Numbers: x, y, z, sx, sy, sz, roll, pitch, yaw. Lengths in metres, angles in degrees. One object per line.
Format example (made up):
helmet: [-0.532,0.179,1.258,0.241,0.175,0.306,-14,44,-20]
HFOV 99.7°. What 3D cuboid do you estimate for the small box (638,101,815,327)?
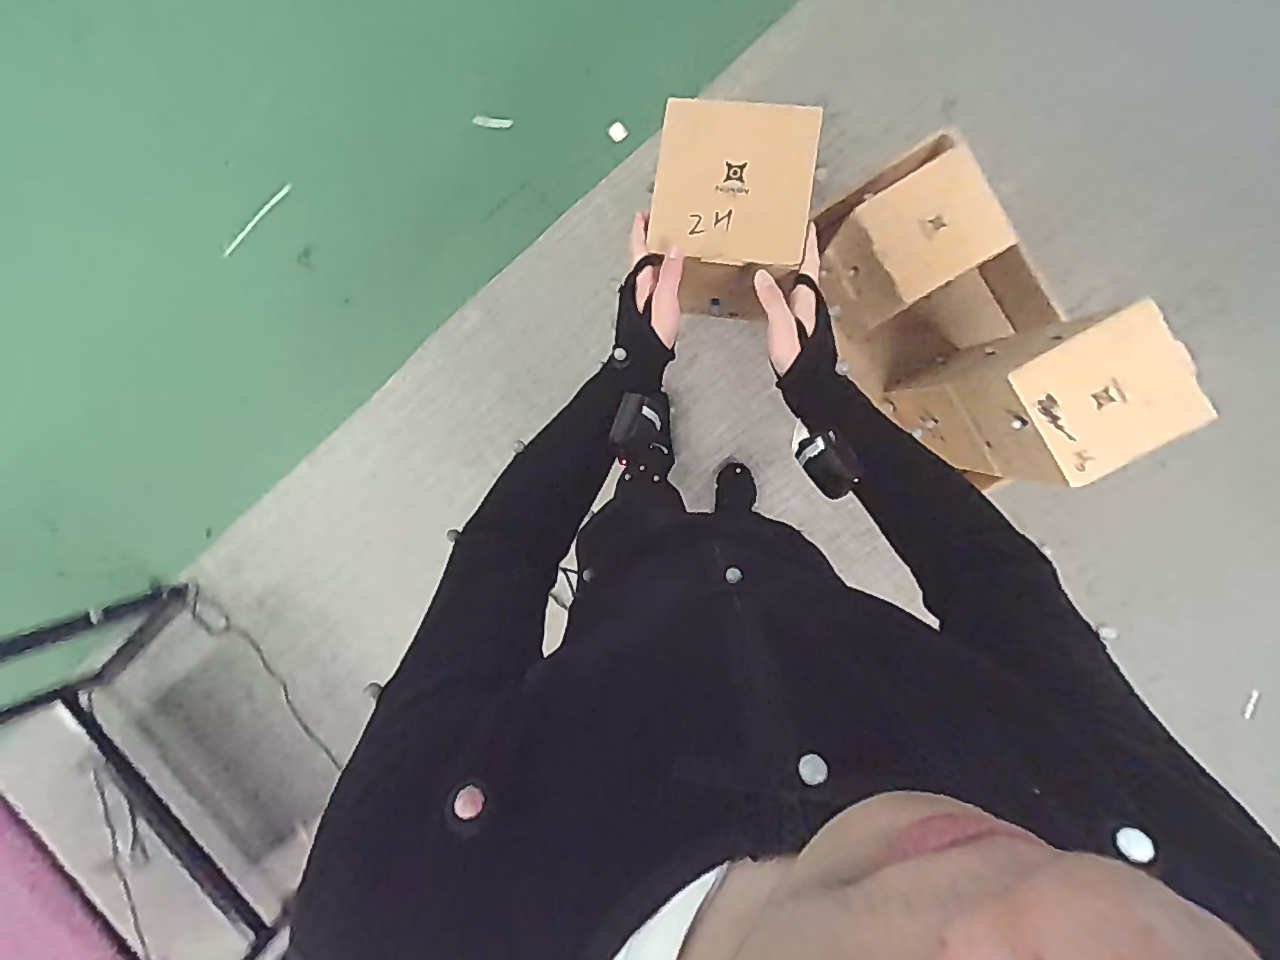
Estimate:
small box: [0.098,-0.305,0.647,0.168,0.176,0.179,9,86,7]

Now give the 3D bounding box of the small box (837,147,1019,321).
small box: [0.447,-0.380,0.872,0.179,0.176,0.168,-29,92,10]

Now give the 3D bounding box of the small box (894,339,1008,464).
small box: [0.616,-0.144,1.039,0.179,0.176,0.168,-29,92,9]

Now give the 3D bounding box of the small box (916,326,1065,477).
small box: [0.591,-0.124,0.879,0.179,0.176,0.168,-29,91,11]

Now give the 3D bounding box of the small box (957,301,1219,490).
small box: [0.570,-0.106,0.718,0.179,0.176,0.168,-30,90,9]
